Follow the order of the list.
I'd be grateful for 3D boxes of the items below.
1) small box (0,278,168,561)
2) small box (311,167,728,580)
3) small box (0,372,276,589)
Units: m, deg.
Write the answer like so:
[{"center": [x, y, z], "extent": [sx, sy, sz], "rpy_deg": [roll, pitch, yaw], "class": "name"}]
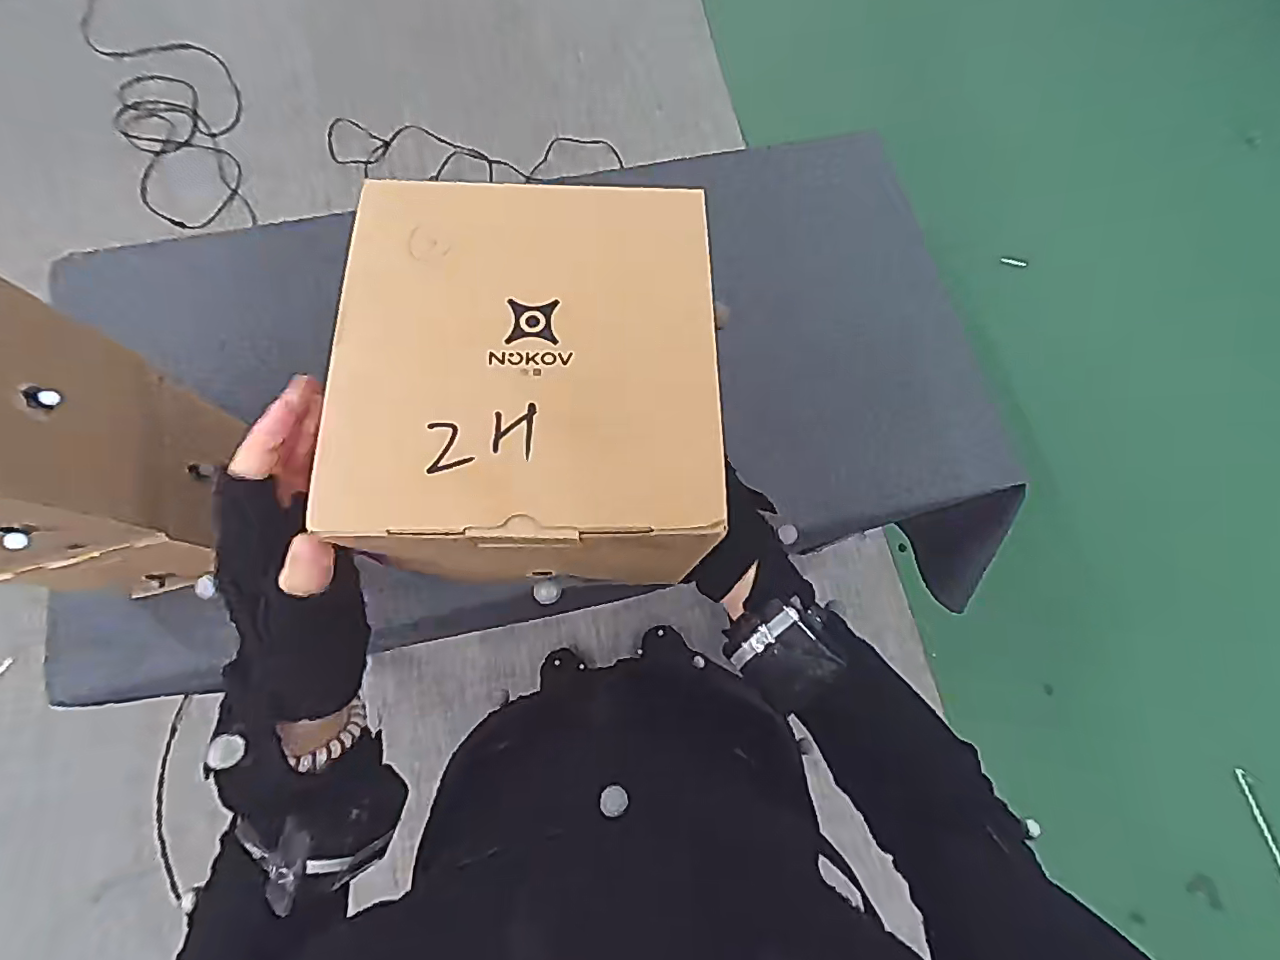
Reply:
[{"center": [-0.528, -0.037, 0.436], "extent": [0.168, 0.176, 0.179], "rpy_deg": [-13, 75, -7], "class": "small box"}, {"center": [-0.051, -0.042, 0.313], "extent": [0.168, 0.176, 0.179], "rpy_deg": [0, 73, -3], "class": "small box"}, {"center": [-0.536, 0.010, 0.591], "extent": [0.168, 0.176, 0.179], "rpy_deg": [-14, 76, -6], "class": "small box"}]
